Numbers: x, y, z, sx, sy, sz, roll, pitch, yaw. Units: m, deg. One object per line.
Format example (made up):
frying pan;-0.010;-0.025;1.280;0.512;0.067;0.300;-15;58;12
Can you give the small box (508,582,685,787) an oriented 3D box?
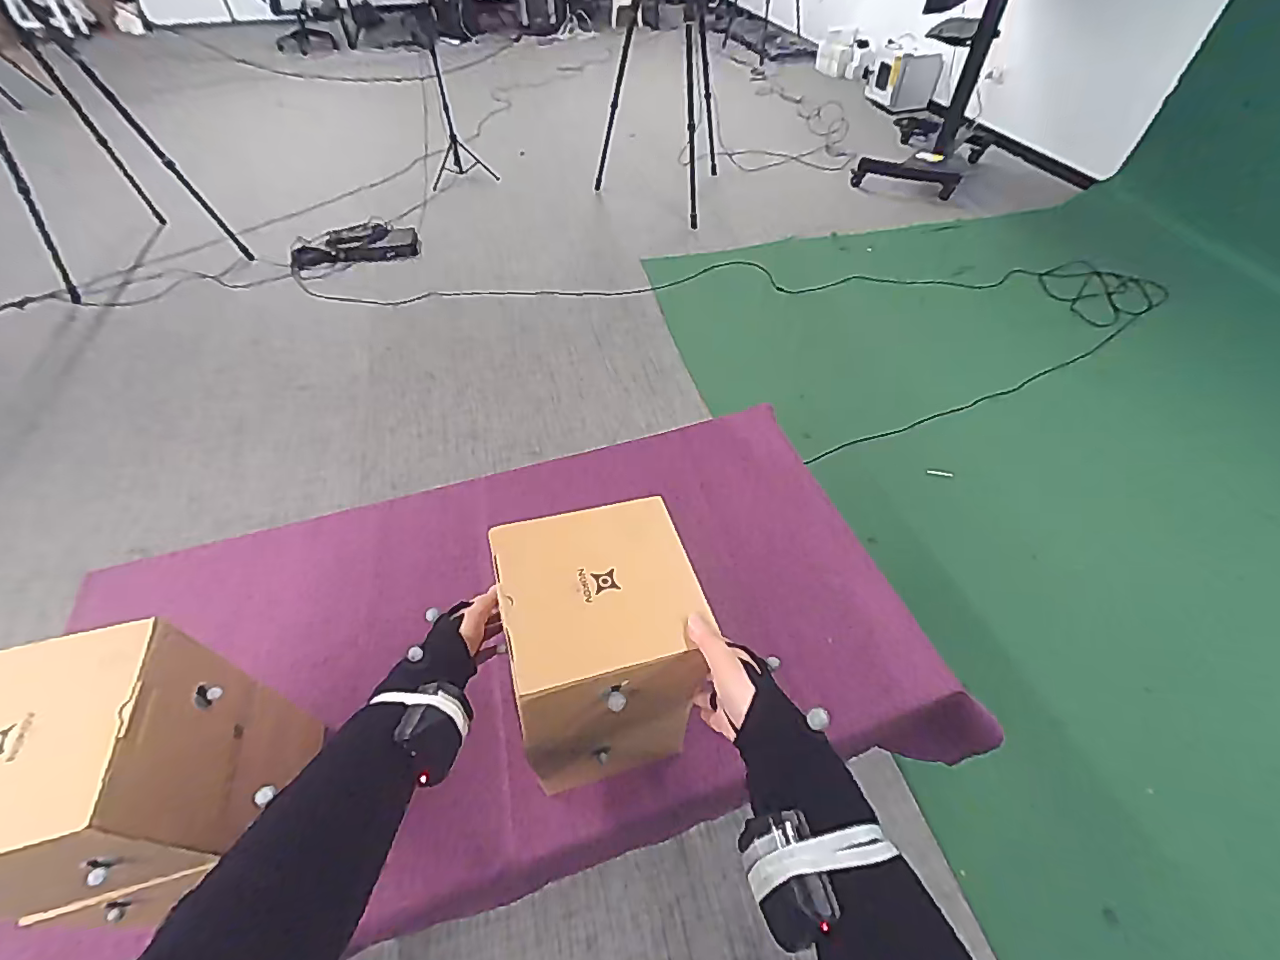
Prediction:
small box;-0.053;0.257;0.672;0.179;0.176;0.168;-13;51;-11

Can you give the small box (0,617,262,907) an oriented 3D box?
small box;-0.474;0.246;0.472;0.179;0.176;0.168;-12;50;-8

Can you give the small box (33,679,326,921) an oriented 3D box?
small box;-0.473;0.352;0.597;0.168;0.176;0.179;-13;50;-9
